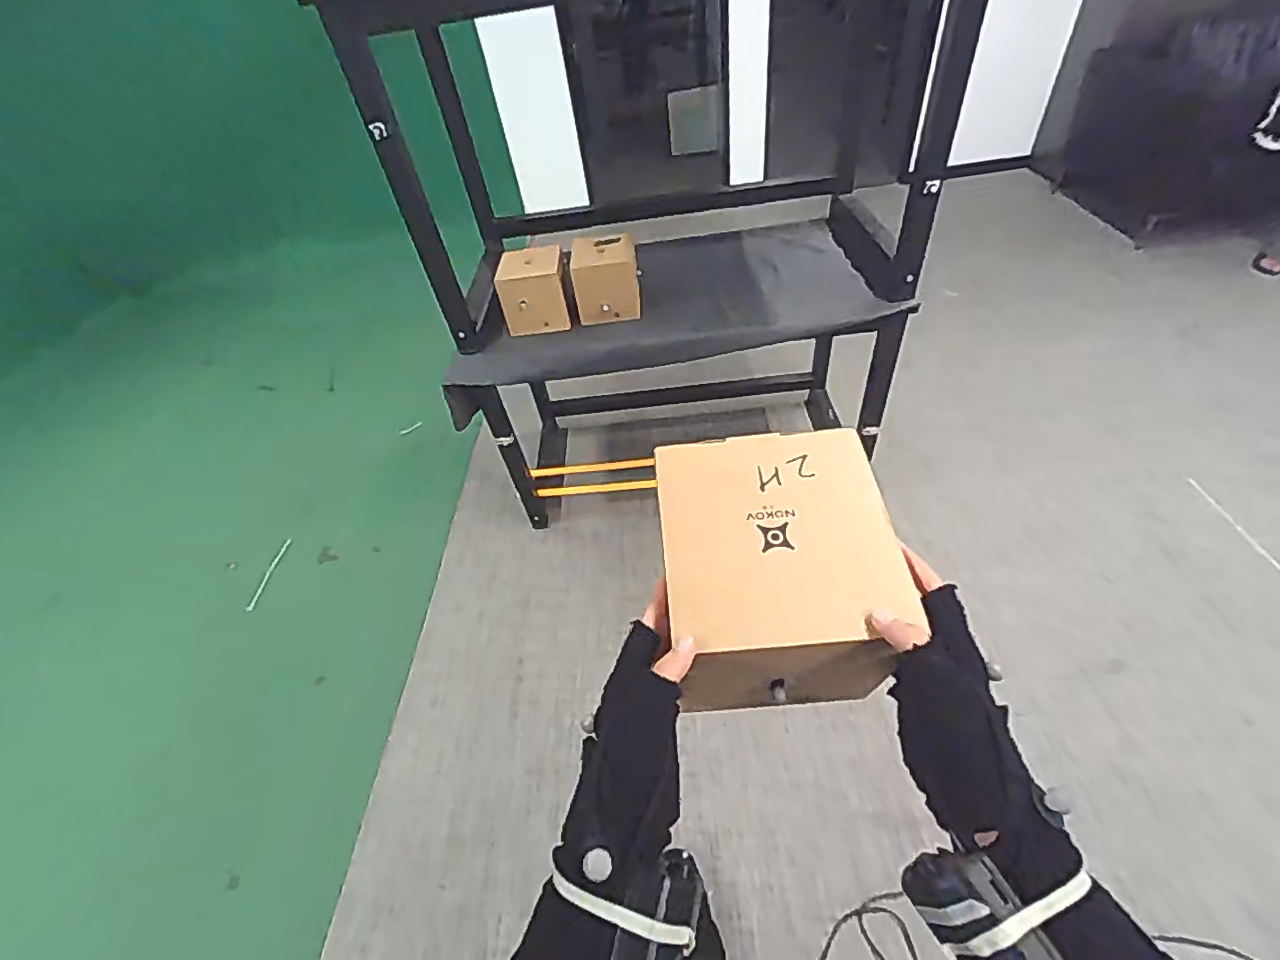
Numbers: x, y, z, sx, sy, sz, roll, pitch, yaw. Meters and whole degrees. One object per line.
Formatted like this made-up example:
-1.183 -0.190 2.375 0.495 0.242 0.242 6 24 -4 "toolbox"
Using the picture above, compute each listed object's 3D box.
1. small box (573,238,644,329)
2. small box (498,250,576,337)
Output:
-0.082 -0.538 1.486 0.168 0.176 0.179 -6 46 5 "small box"
-0.276 -0.508 1.491 0.168 0.176 0.179 -6 45 3 "small box"
